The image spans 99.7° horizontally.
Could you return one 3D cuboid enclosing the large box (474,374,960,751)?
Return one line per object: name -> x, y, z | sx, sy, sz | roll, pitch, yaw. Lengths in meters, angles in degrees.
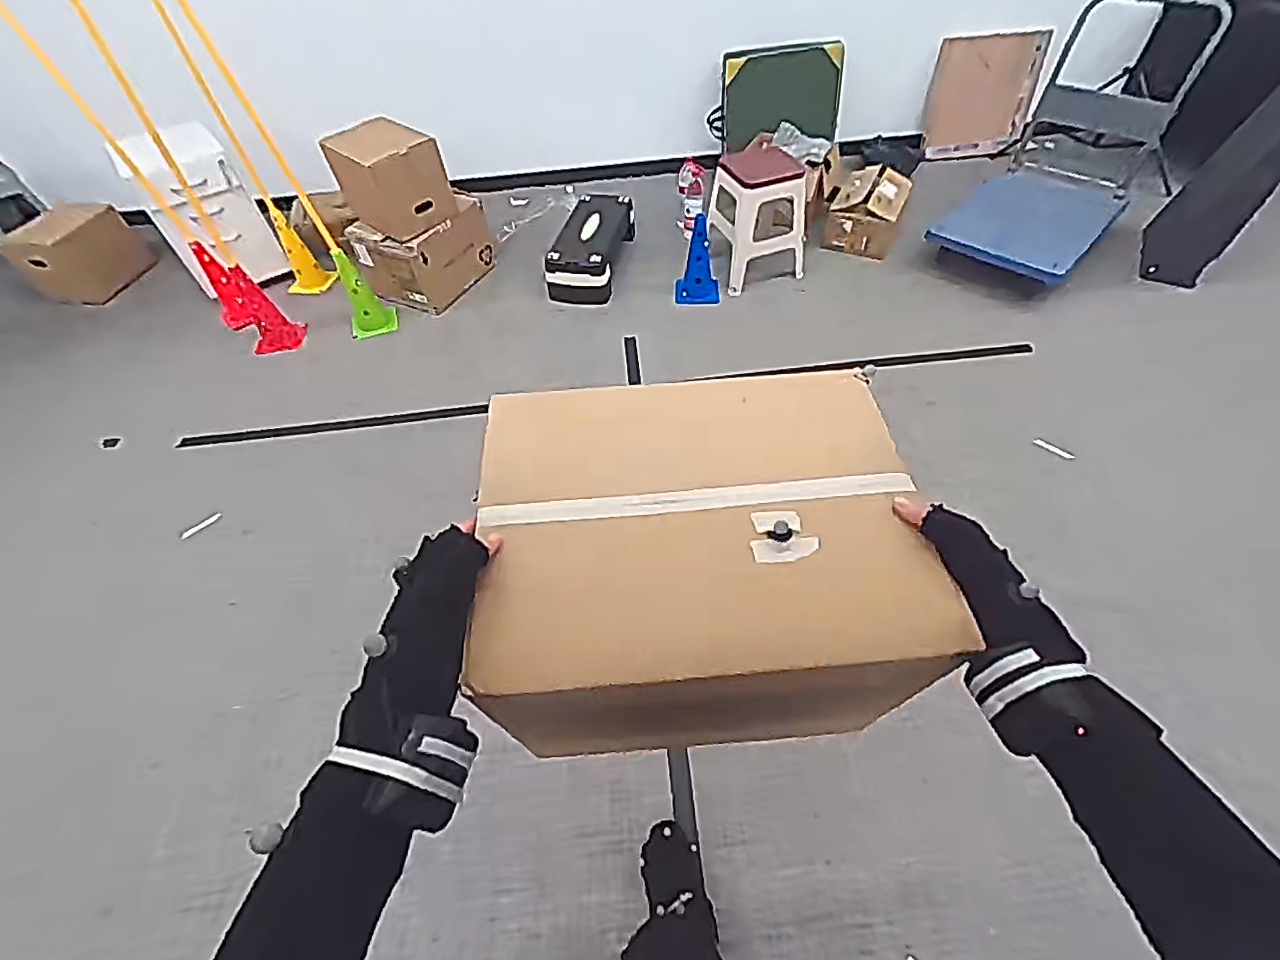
large box -> 0.053, 0.107, 0.637 | 0.408, 0.320, 0.320 | -5, 55, -1
